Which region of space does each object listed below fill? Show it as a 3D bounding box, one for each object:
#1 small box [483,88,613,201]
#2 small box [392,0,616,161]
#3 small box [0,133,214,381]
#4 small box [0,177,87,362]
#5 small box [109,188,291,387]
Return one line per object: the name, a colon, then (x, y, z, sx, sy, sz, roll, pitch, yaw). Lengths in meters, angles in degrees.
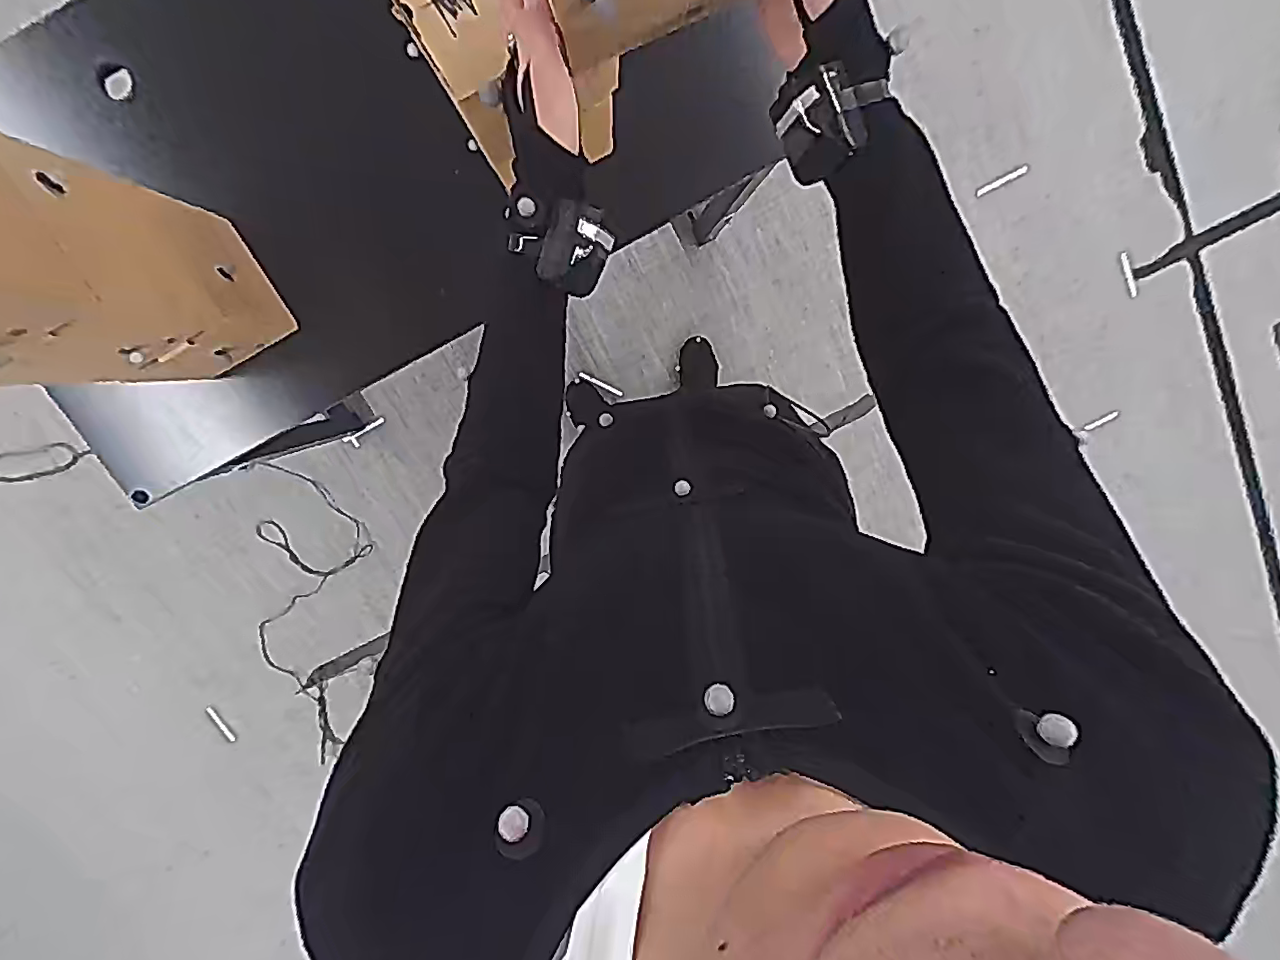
small box: (-0.147, -0.499, 0.694, 0.168, 0.176, 0.179, -28, 102, 3)
small box: (-0.134, -0.460, 0.534, 0.179, 0.176, 0.168, -32, 102, 3)
small box: (-0.609, -0.211, 0.556, 0.168, 0.176, 0.179, -29, 102, 3)
small box: (-0.598, -0.178, 0.397, 0.168, 0.176, 0.179, -29, 102, 4)
small box: (-0.619, -0.243, 0.717, 0.168, 0.176, 0.179, -29, 102, 2)
